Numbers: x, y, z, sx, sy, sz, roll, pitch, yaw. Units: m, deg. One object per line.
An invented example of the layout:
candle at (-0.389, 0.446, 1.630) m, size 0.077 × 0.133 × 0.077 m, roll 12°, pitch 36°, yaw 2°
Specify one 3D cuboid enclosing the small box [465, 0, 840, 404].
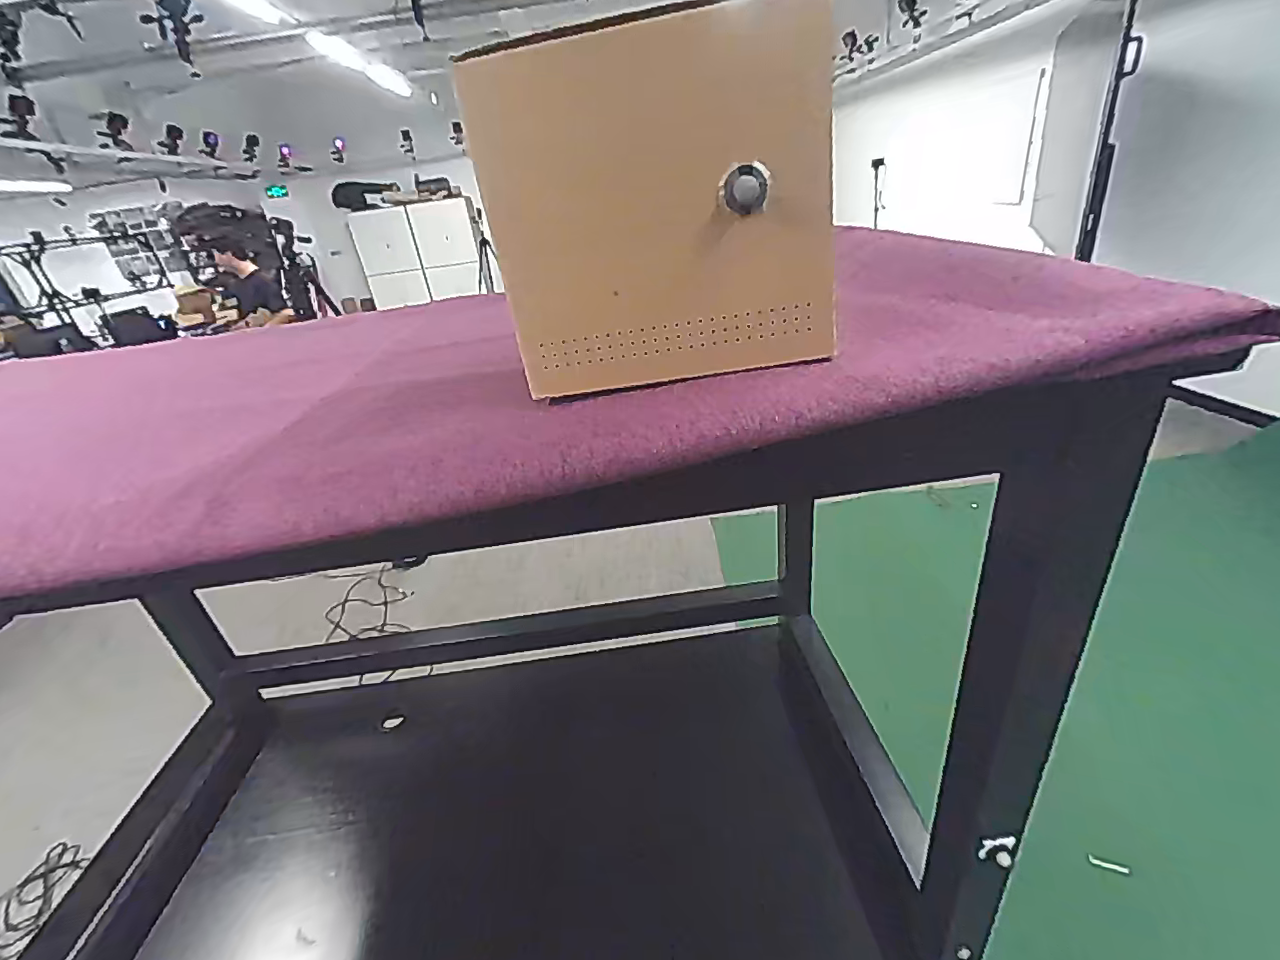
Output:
small box at (0.018, -0.160, 0.350) m, size 0.179 × 0.176 × 0.168 m, roll -8°, pitch 24°, yaw 6°
